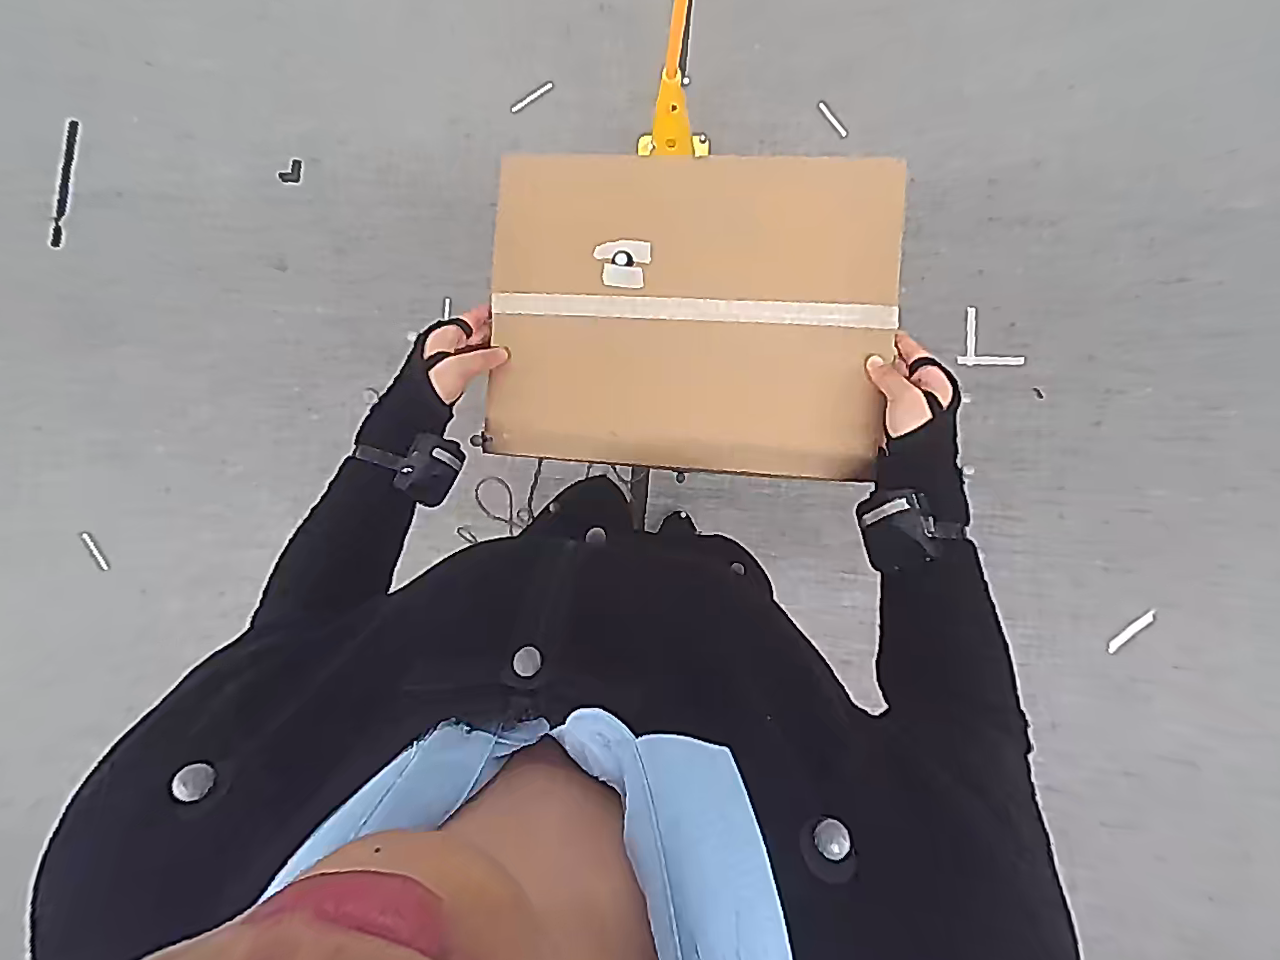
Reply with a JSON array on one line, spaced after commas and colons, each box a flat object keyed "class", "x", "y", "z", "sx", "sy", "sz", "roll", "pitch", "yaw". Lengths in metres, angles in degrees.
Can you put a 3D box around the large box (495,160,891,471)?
[{"class": "large box", "x": 0.066, "y": -0.173, "z": 0.705, "sx": 0.408, "sy": 0.320, "sz": 0.320, "roll": 4, "pitch": 90, "yaw": 7}]
